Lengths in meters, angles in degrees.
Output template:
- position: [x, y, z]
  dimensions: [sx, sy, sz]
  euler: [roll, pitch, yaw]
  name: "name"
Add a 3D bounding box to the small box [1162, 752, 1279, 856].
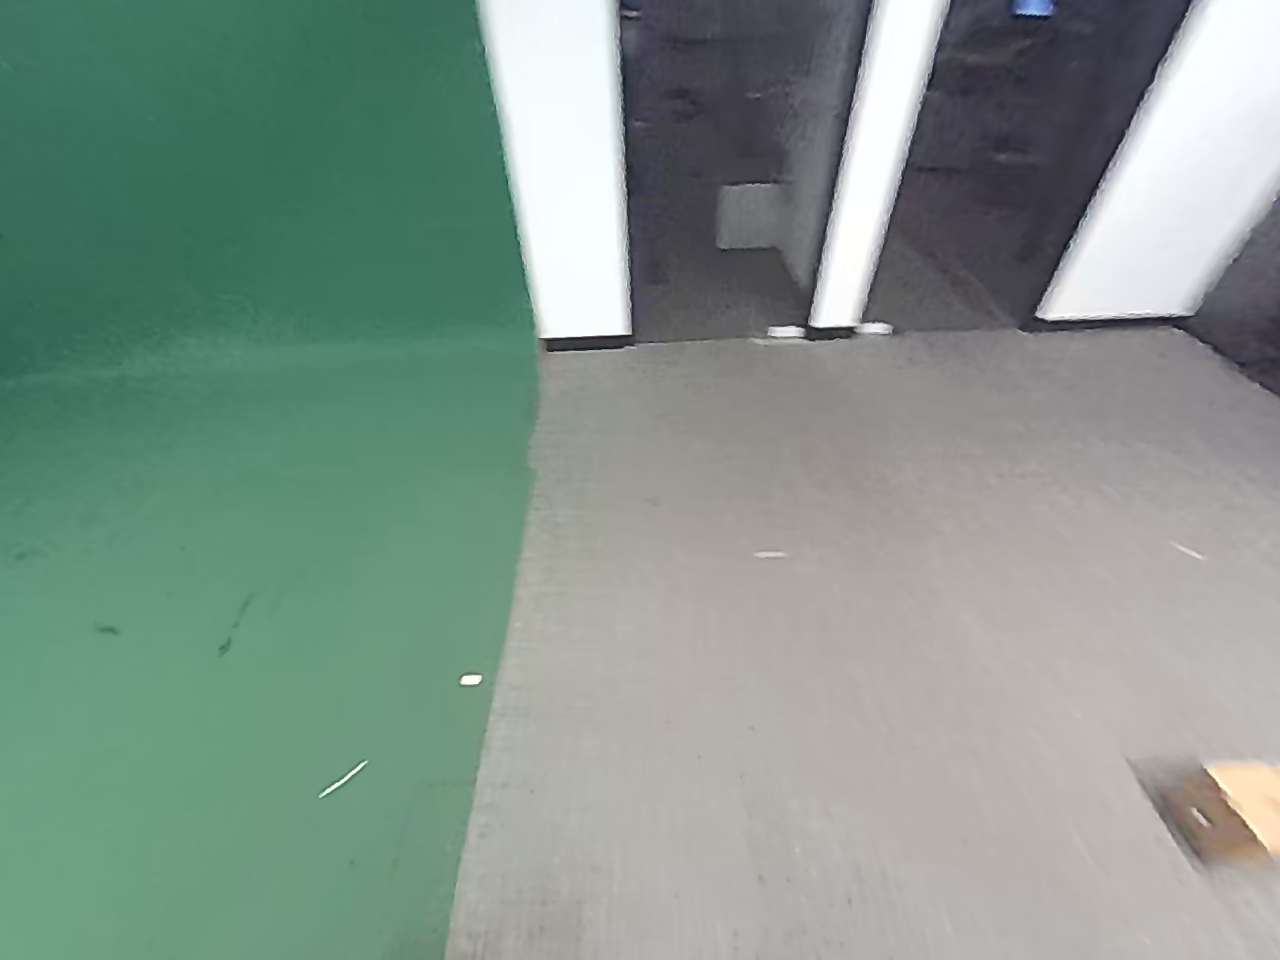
- position: [1.342, 0.730, 1.215]
  dimensions: [0.179, 0.176, 0.168]
  euler: [-2, 43, 1]
  name: "small box"
